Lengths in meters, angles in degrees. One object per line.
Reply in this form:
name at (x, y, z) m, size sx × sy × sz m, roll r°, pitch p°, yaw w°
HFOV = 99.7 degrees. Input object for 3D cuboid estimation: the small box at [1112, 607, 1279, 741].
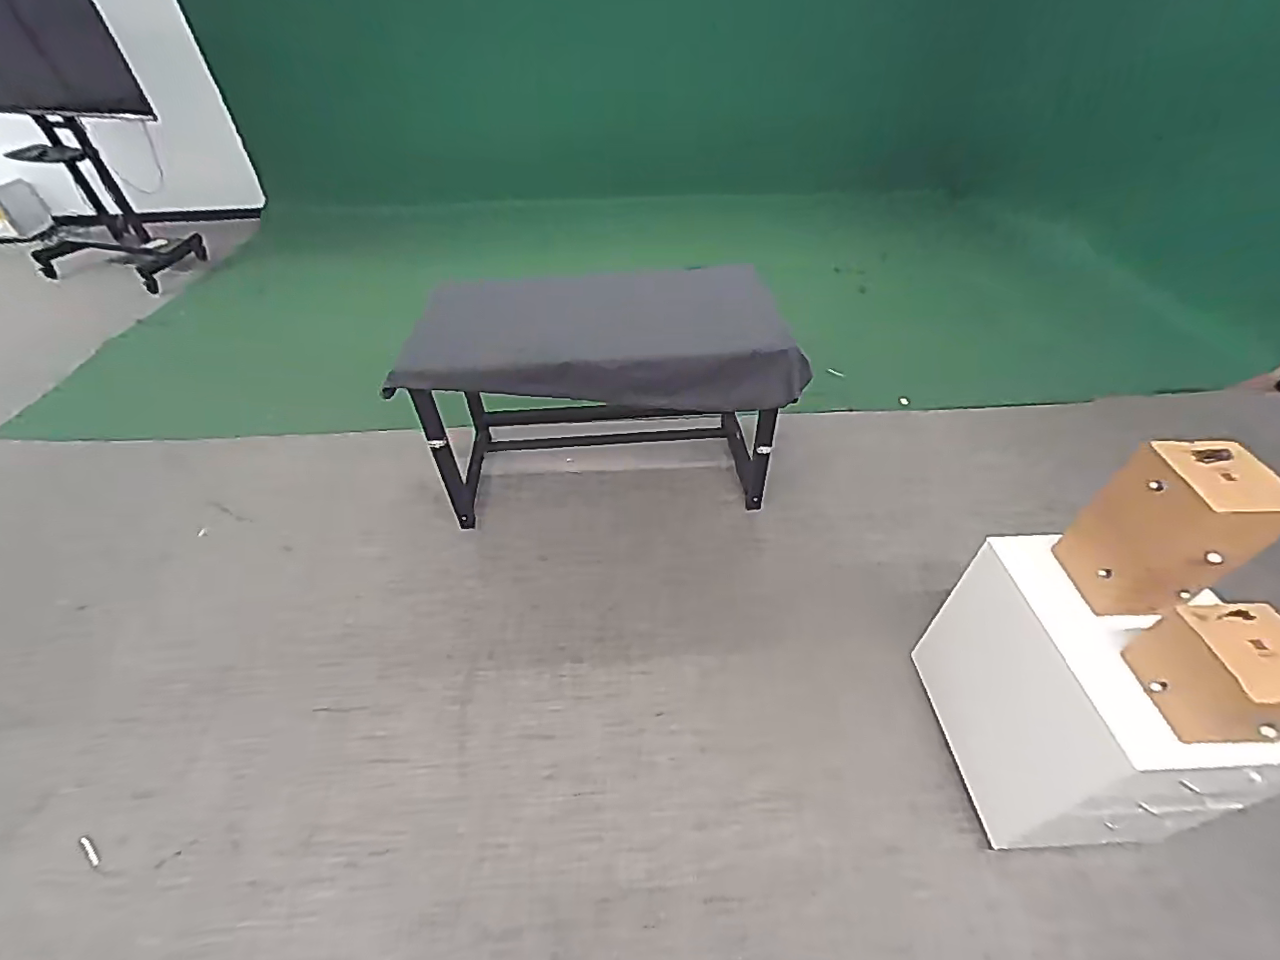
small box at (1.003, 0.343, 0.948) m, size 0.168 × 0.176 × 0.179 m, roll 0°, pitch 45°, yaw -1°

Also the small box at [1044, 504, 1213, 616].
small box at (1.005, 0.169, 1.127) m, size 0.168 × 0.176 × 0.179 m, roll 0°, pitch 44°, yaw -2°

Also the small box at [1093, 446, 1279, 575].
small box at (1.011, 0.056, 1.007) m, size 0.168 × 0.176 × 0.179 m, roll 0°, pitch 46°, yaw -1°
